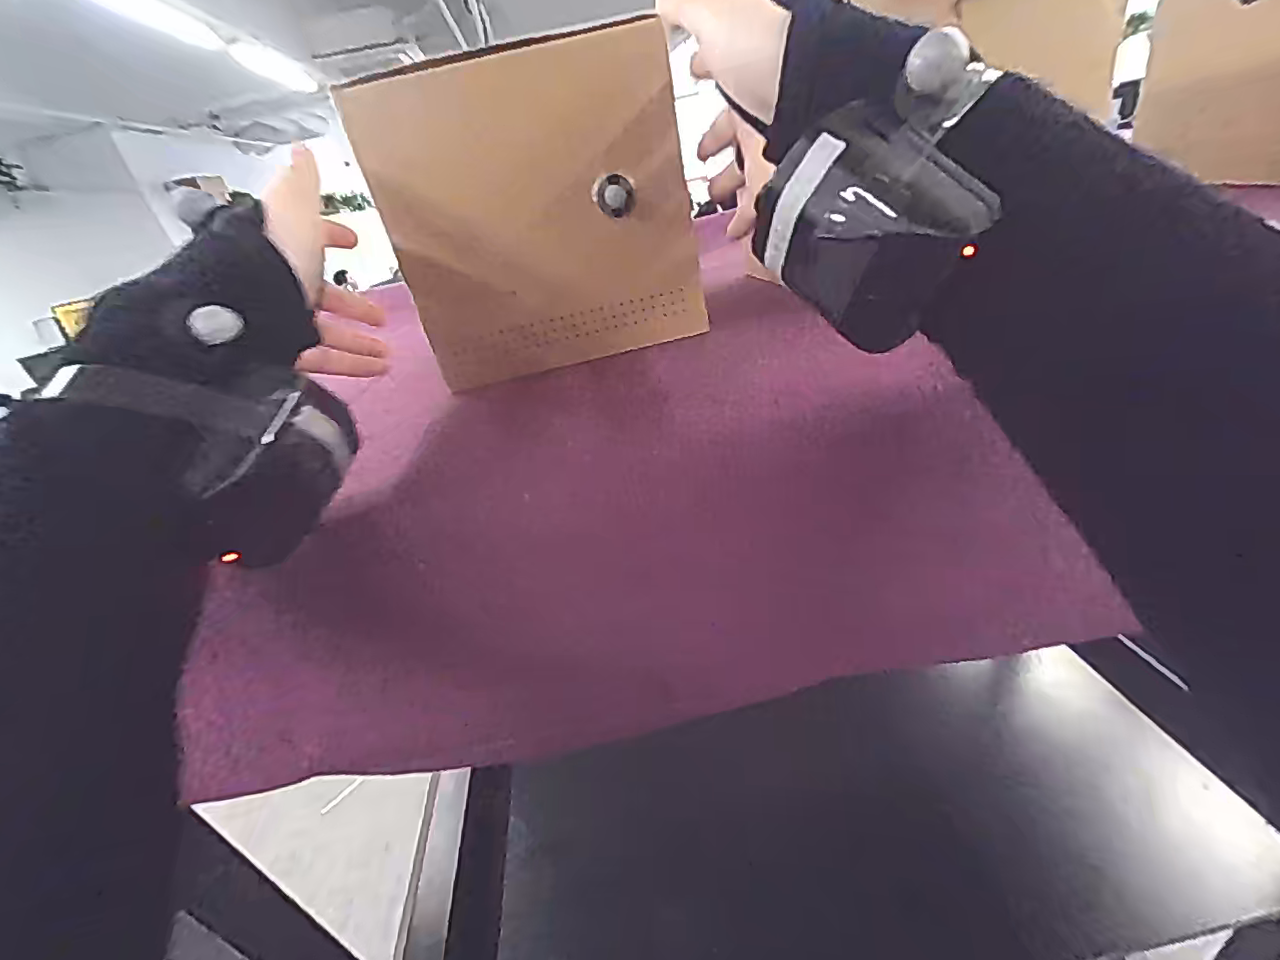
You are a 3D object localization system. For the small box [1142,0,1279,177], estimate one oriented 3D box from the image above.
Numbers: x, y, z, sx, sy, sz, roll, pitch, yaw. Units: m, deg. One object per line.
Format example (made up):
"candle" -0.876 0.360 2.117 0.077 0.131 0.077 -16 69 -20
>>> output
"small box" 0.494 -0.309 0.355 0.168 0.176 0.179 -13 29 2

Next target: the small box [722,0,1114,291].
"small box" 0.170 -0.236 0.364 0.168 0.176 0.179 -16 29 -6

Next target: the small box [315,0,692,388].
"small box" -0.067 -0.181 0.368 0.179 0.176 0.168 -14 29 -1
